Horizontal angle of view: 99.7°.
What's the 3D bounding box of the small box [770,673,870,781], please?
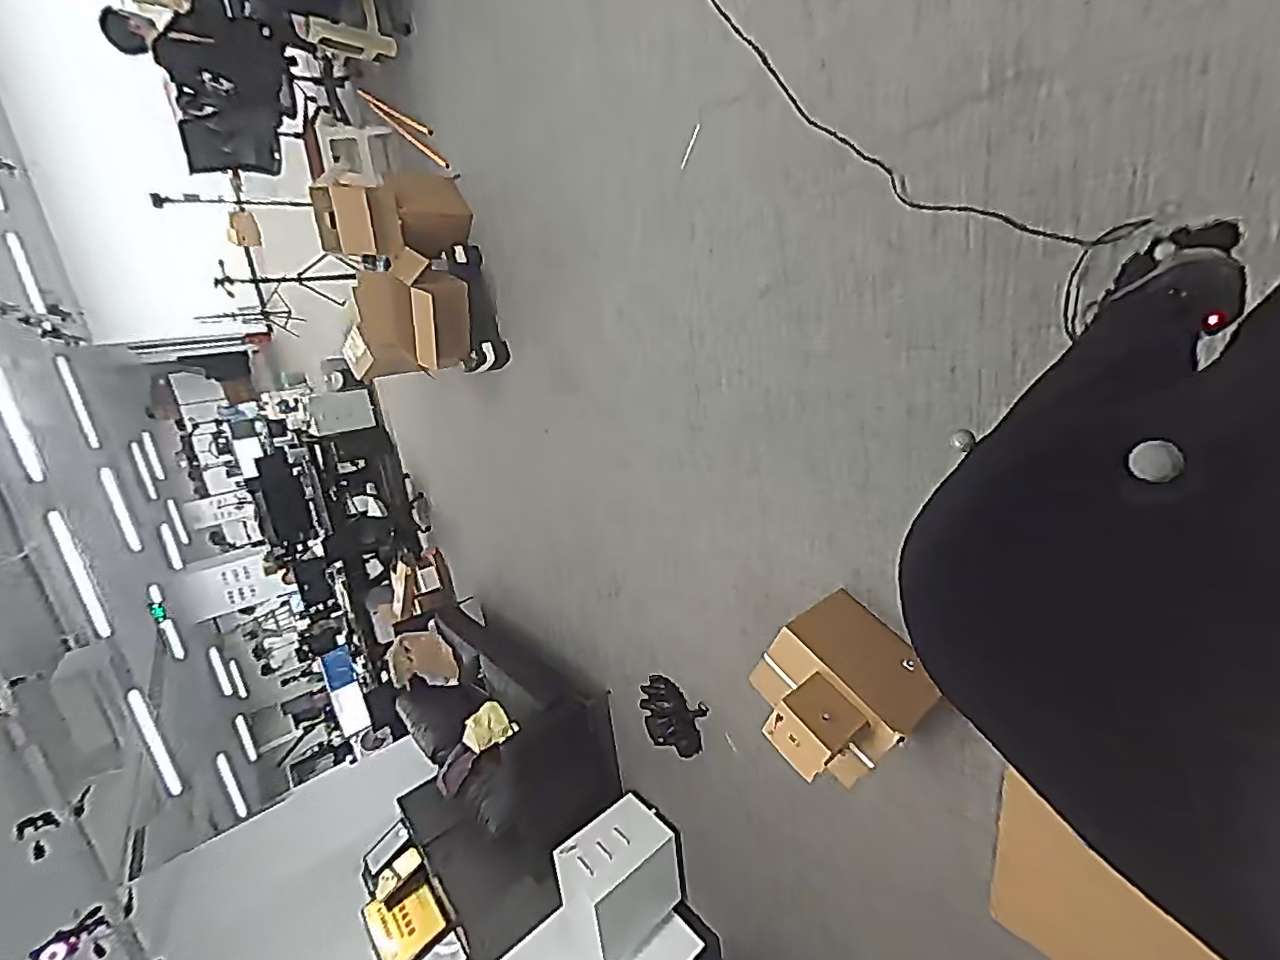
[{"bbox_3d":[0.494,0.670,1.486,0.179,0.176,0.168,41,136,37],"label":"small box"}]
